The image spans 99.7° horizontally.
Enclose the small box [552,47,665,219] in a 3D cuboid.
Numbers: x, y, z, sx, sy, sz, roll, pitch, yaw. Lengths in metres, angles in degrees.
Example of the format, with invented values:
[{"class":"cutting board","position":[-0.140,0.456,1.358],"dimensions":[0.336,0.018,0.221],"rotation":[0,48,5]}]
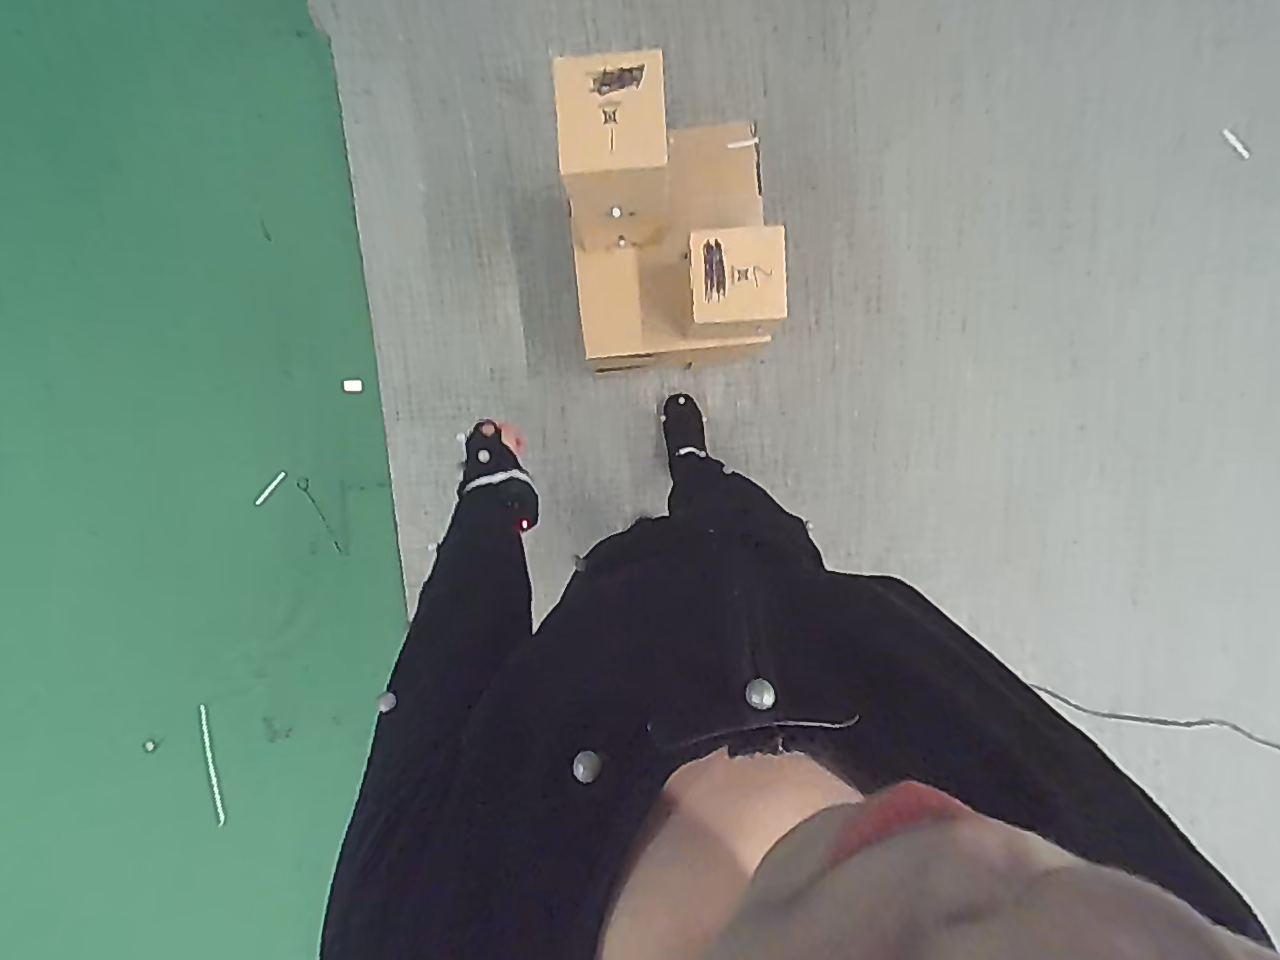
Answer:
[{"class":"small box","position":[-0.047,-0.559,0.890],"dimensions":[0.168,0.176,0.179],"rotation":[-3,92,2]}]

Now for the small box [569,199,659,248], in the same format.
[{"class":"small box","position":[-0.051,-0.579,1.054],"dimensions":[0.168,0.176,0.179],"rotation":[-5,92,2]}]
